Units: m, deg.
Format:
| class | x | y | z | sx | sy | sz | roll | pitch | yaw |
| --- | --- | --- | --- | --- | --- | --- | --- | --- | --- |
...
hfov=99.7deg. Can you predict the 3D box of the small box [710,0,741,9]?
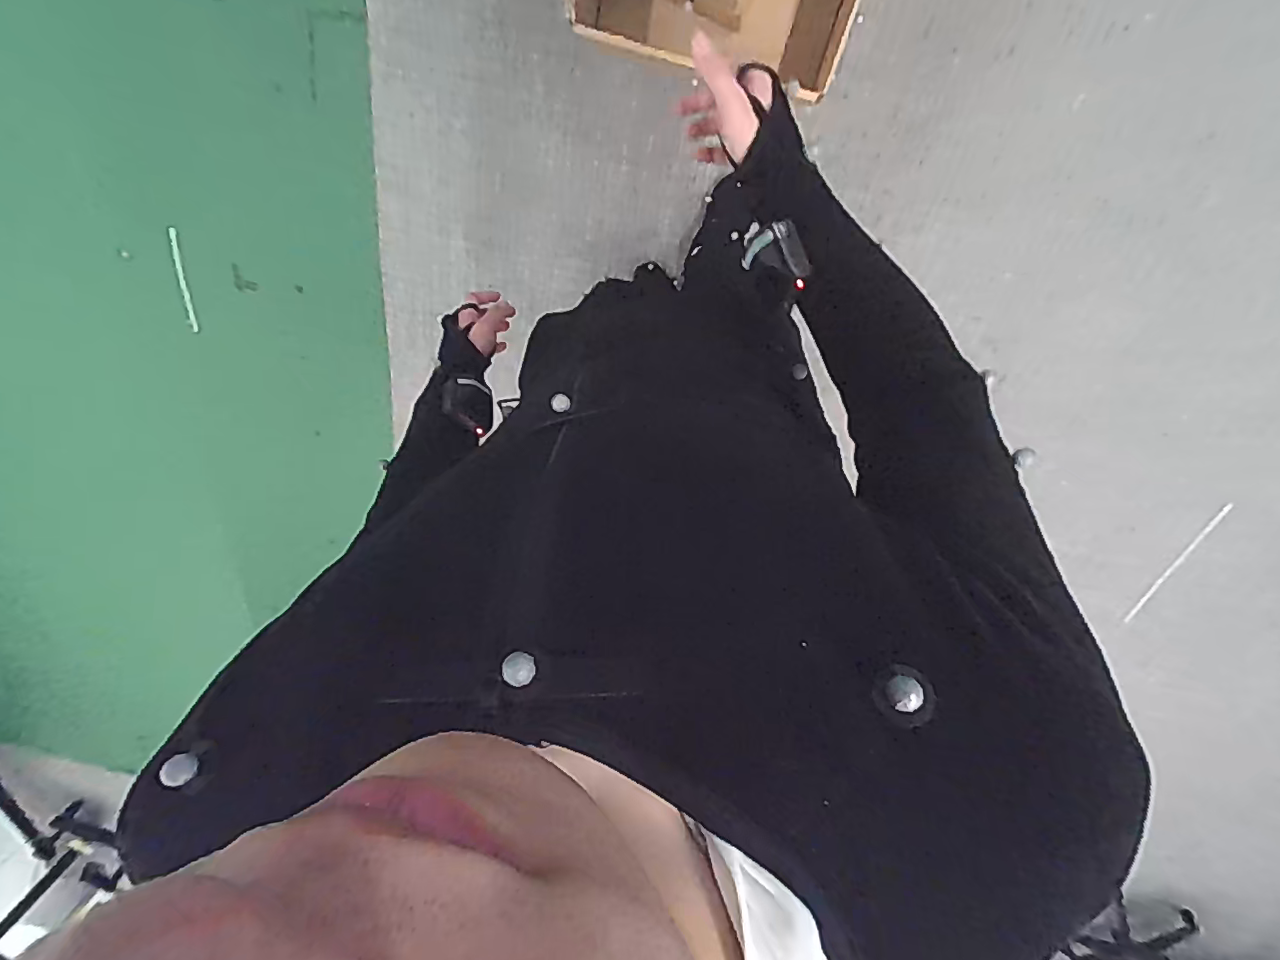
| class | x | y | z | sx | sy | sz | roll | pitch | yaw |
| --- | --- | --- | --- | --- | --- | --- | --- | --- | --- |
| small box | 0.078 | -0.677 | 0.600 | 0.168 | 0.176 | 0.179 | 25 | 120 | -6 |
